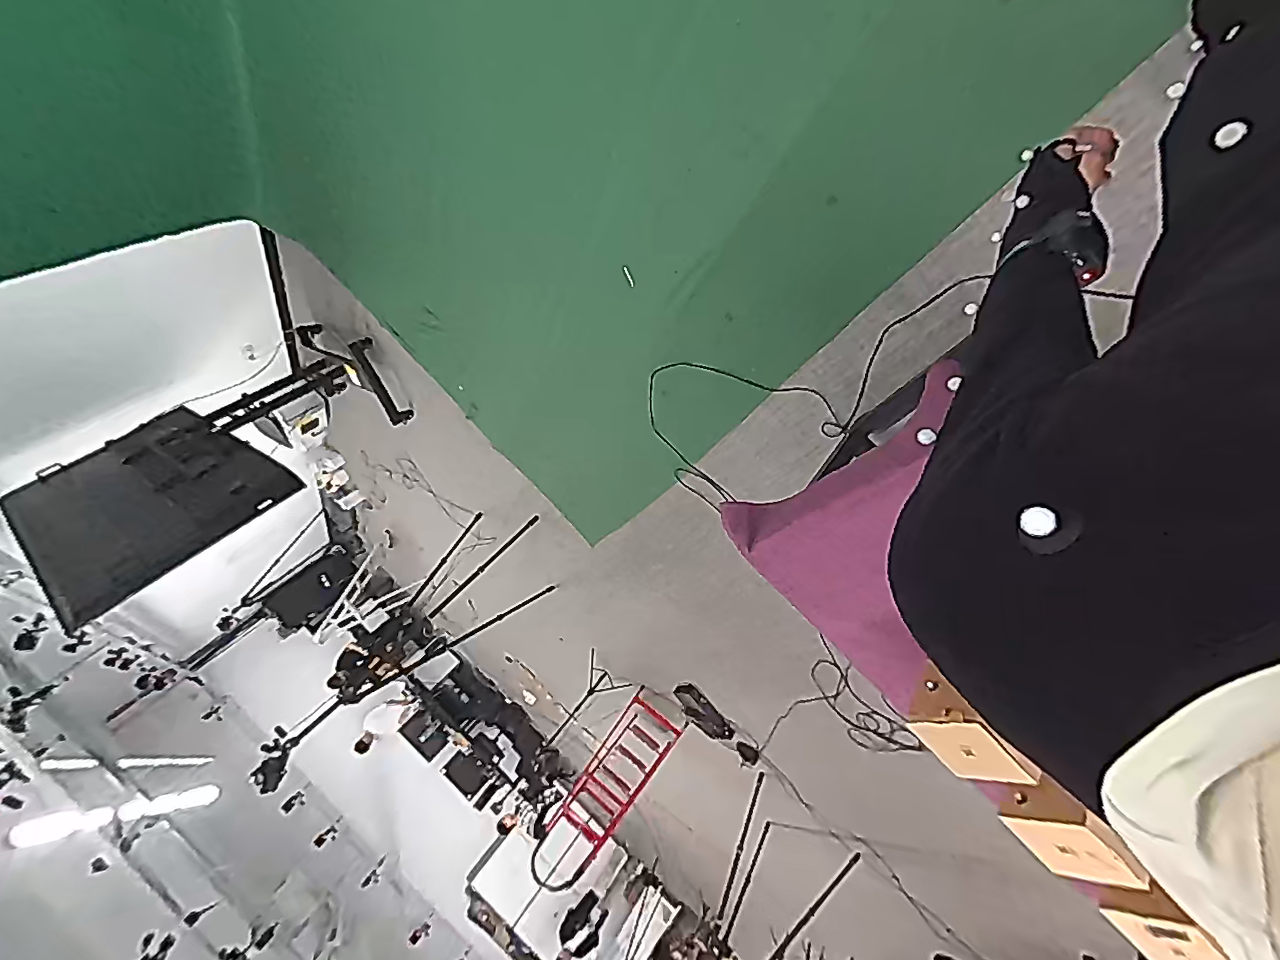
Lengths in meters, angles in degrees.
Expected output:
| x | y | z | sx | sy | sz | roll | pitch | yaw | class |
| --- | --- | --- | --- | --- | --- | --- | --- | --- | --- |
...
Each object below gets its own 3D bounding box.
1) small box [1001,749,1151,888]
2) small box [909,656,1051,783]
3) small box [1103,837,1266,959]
| x | y | z | sx | sy | sz | roll | pitch | yaw | class |
| --- | --- | --- | --- | --- | --- | --- | --- | --- | --- |
| 0.887 | 0.671 | 1.098 | 0.168 | 0.176 | 0.179 | 46 | 144 | 0 | small box |
| 0.696 | 0.480 | 1.107 | 0.179 | 0.176 | 0.168 | 48 | 145 | -3 | small box |
| 1.074 | 0.844 | 1.075 | 0.179 | 0.176 | 0.168 | 45 | 145 | 1 | small box |
